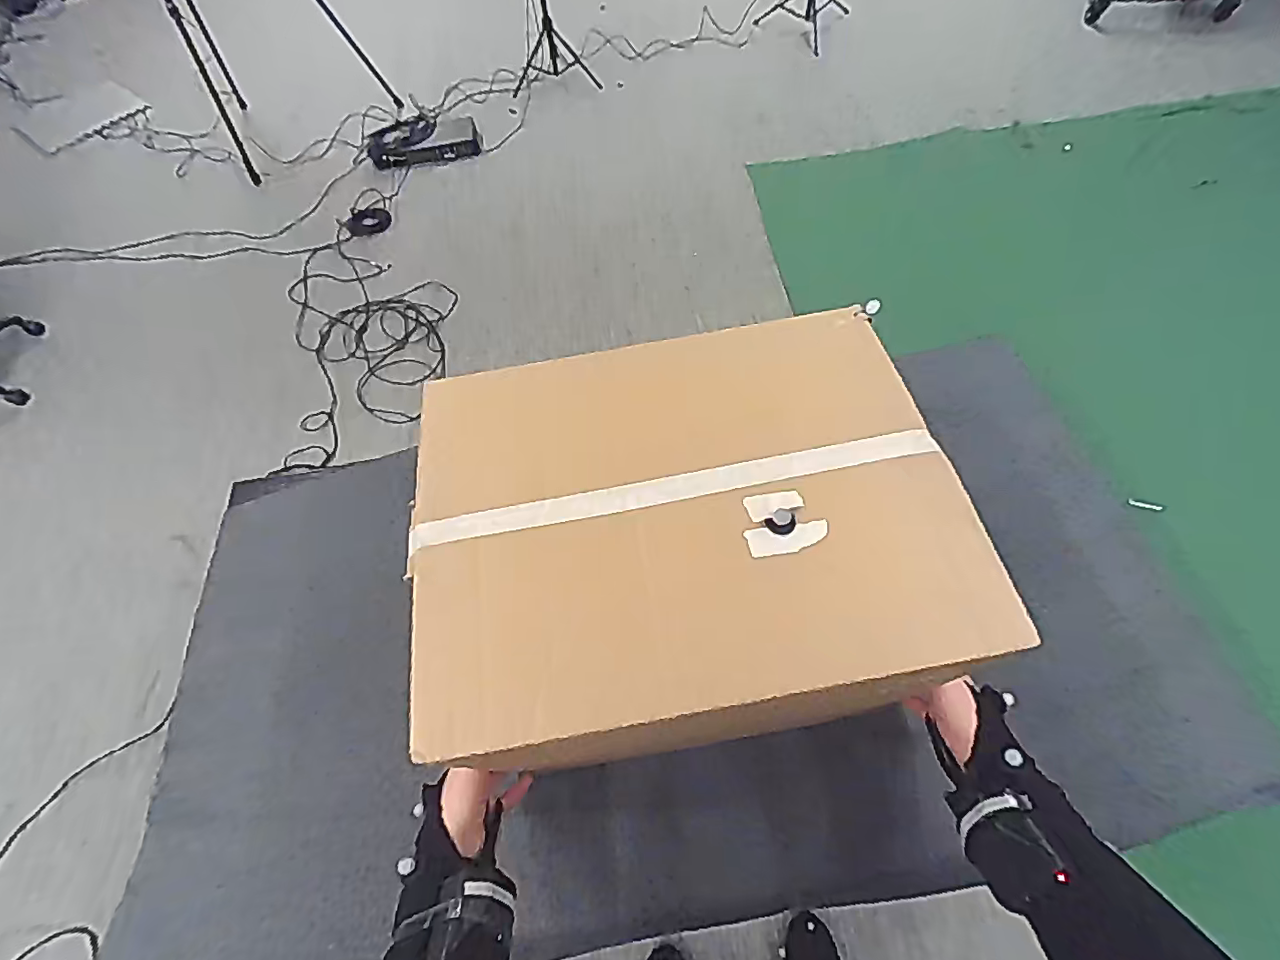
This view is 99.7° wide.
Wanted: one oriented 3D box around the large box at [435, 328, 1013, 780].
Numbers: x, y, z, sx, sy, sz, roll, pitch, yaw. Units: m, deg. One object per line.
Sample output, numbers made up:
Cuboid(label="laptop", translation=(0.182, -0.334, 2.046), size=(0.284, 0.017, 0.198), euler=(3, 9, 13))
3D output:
Cuboid(label="large box", translation=(0.043, 0.096, 0.560), size=(0.408, 0.320, 0.320), euler=(-10, 60, -1))
